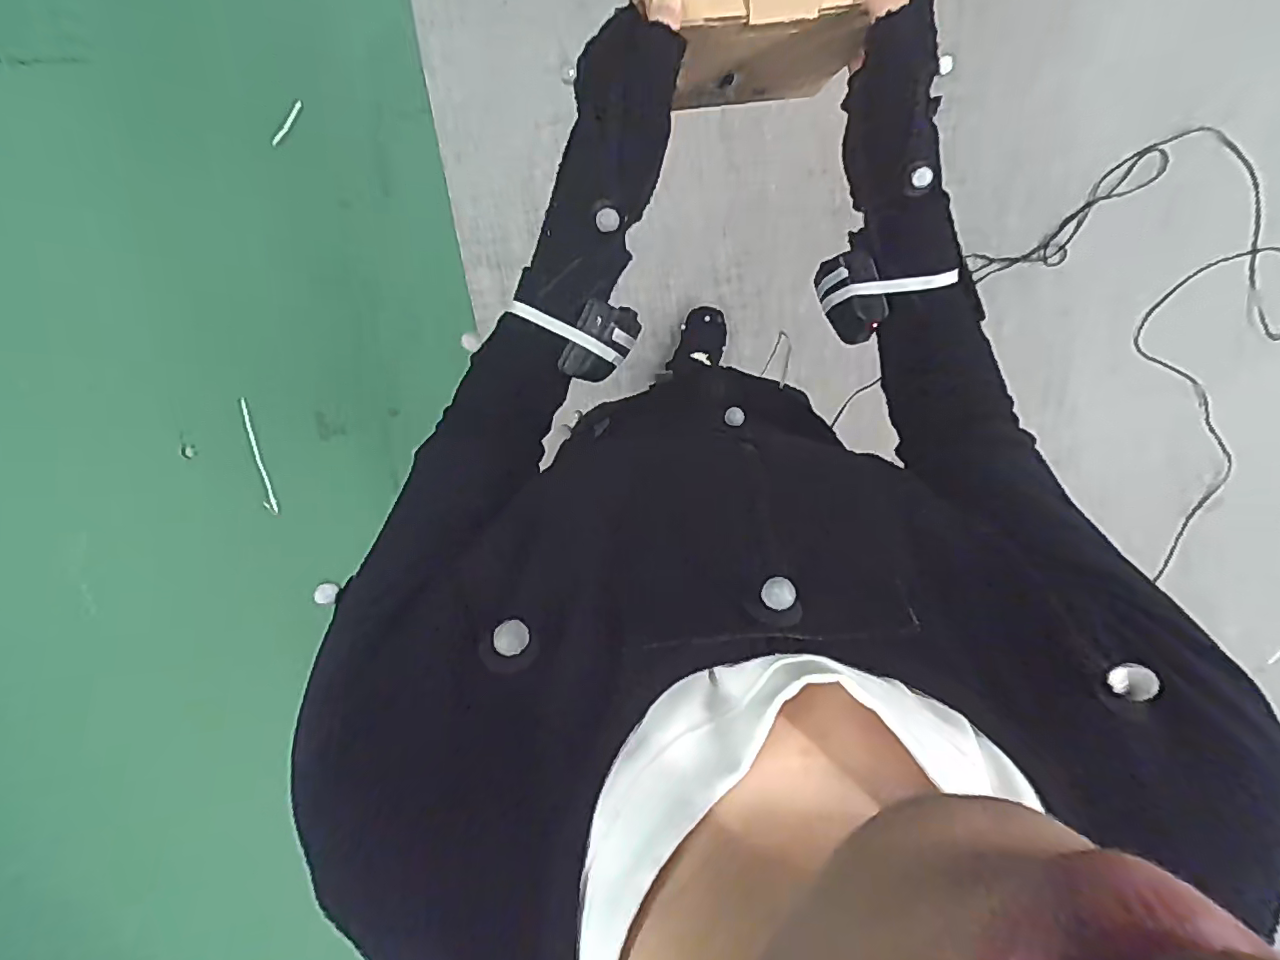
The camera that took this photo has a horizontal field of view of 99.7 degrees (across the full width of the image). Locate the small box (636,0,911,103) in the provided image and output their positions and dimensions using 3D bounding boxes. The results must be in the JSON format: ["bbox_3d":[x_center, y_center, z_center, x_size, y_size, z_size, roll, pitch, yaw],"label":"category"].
[{"bbox_3d":[0.081,-0.404,0.388,0.168,0.176,0.179,-7,111,-1],"label":"small box"}]
